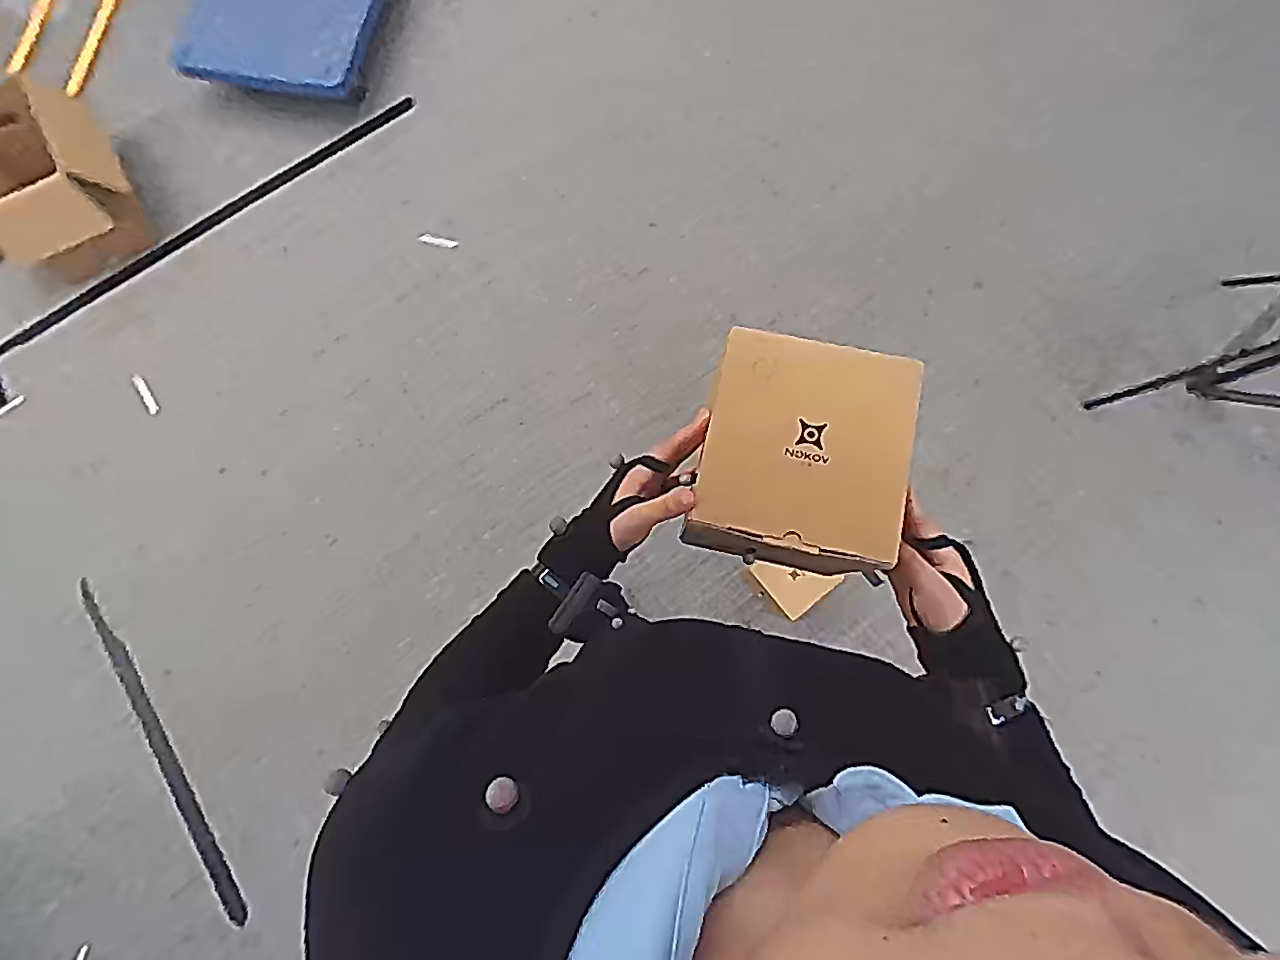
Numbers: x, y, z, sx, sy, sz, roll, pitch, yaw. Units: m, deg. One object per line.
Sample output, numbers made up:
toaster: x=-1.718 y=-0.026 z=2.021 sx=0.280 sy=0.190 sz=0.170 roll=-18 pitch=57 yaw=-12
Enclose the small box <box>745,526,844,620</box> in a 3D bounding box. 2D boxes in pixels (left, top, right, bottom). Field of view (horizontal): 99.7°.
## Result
small box: x=0.391 y=0.245 z=1.411 sx=0.179 sy=0.176 sz=0.168 roll=-37 pitch=80 yaw=-6
